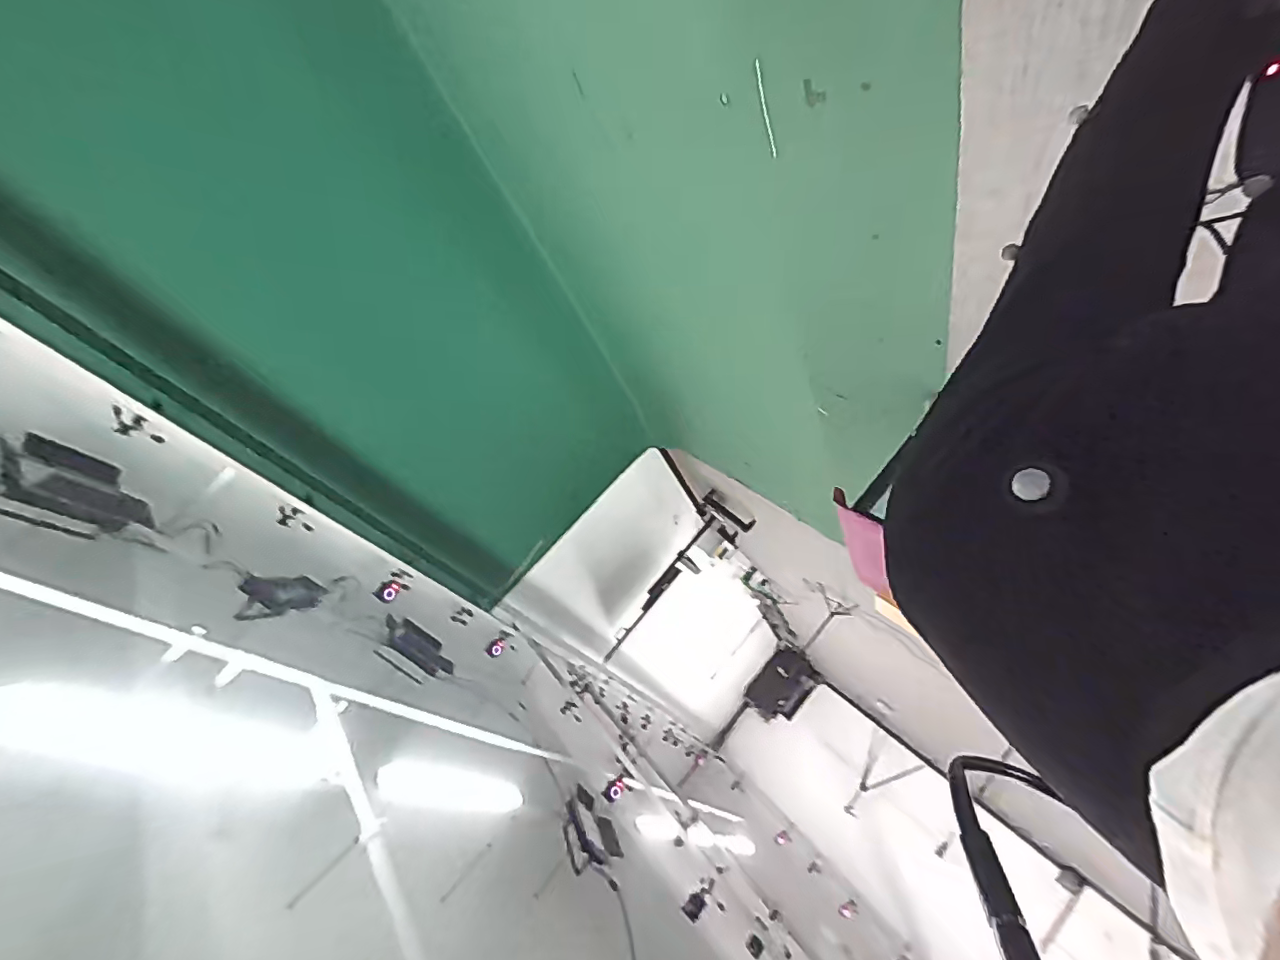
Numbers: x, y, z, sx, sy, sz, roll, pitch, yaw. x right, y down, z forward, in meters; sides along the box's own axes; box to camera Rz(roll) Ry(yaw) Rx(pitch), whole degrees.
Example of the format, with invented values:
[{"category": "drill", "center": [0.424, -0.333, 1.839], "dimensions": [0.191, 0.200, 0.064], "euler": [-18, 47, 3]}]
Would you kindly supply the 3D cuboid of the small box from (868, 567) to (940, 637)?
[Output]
[{"category": "small box", "center": [0.979, 0.445, 2.014], "dimensions": [0.179, 0.176, 0.168], "euler": [33, 165, 35]}]
